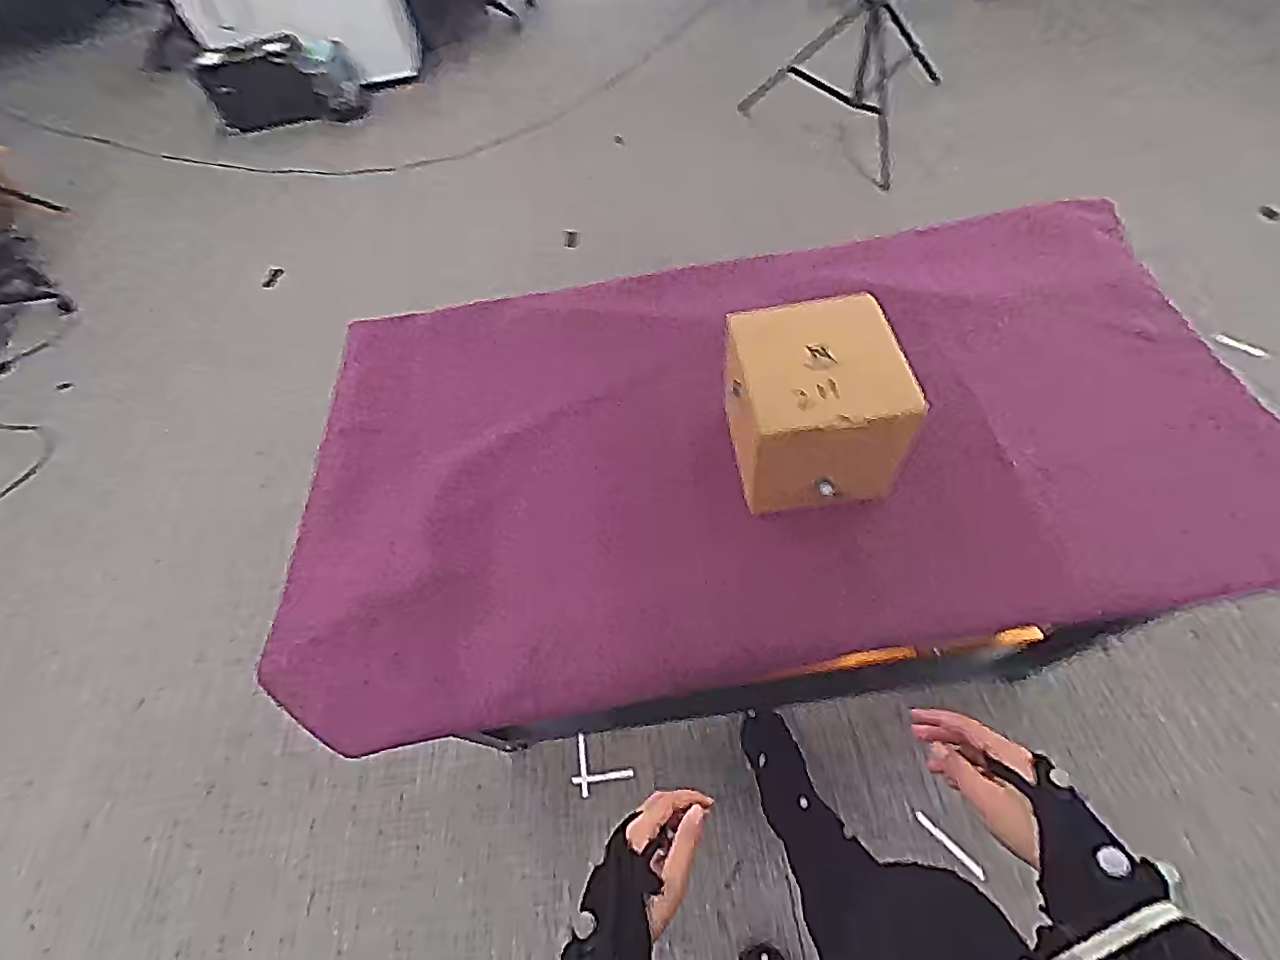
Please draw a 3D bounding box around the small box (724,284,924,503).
[{"bbox_3d":[0.193,-0.095,0.631,0.168,0.176,0.179,-9,58,3],"label":"small box"}]
